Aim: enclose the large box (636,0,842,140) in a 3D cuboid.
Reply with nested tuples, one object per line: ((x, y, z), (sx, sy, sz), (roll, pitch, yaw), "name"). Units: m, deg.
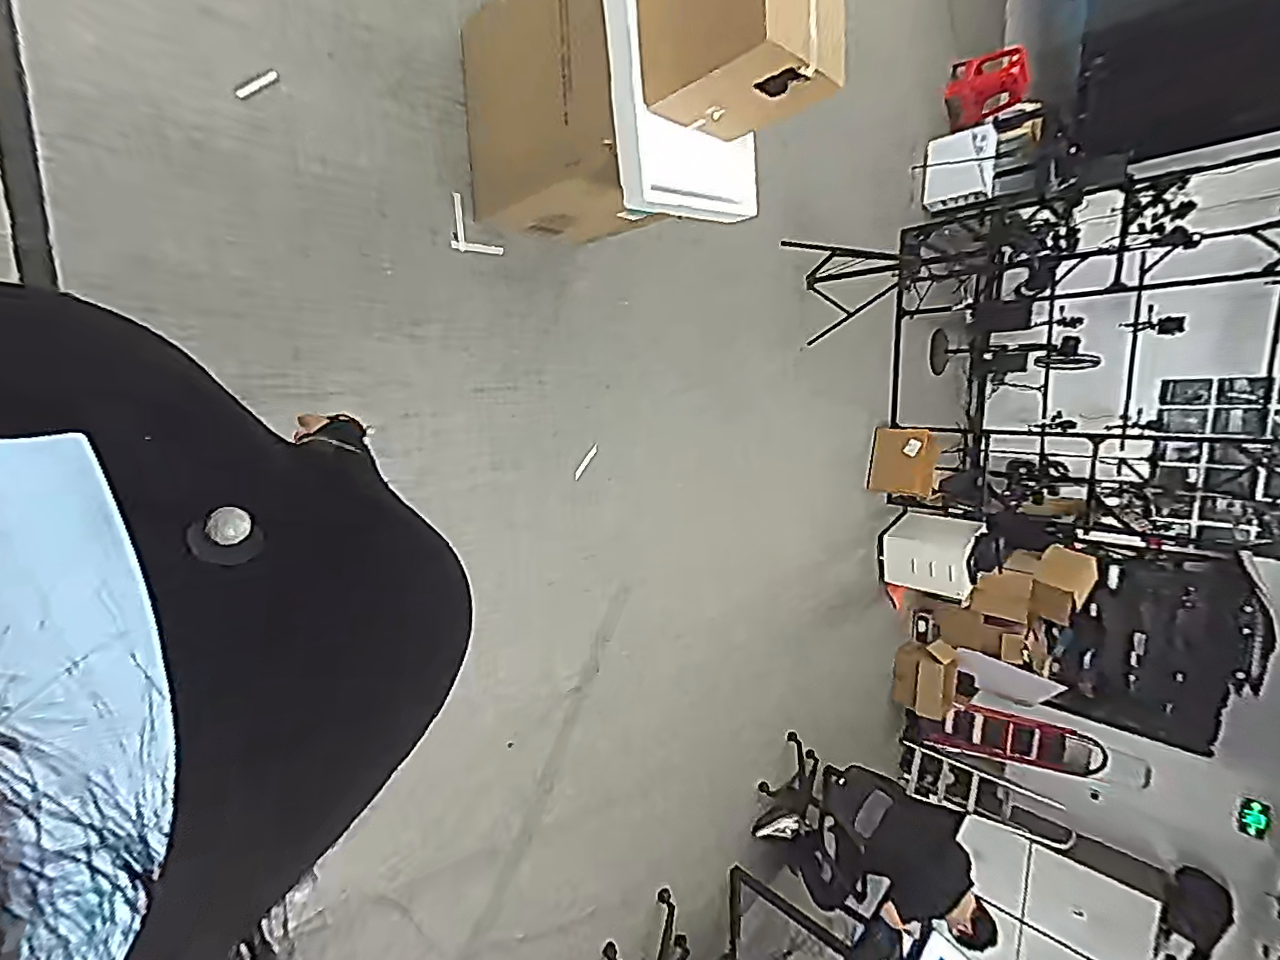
((0.202, -1.004, 1.124), (0.320, 0.320, 0.408), (-16, 105, -44), "large box")
